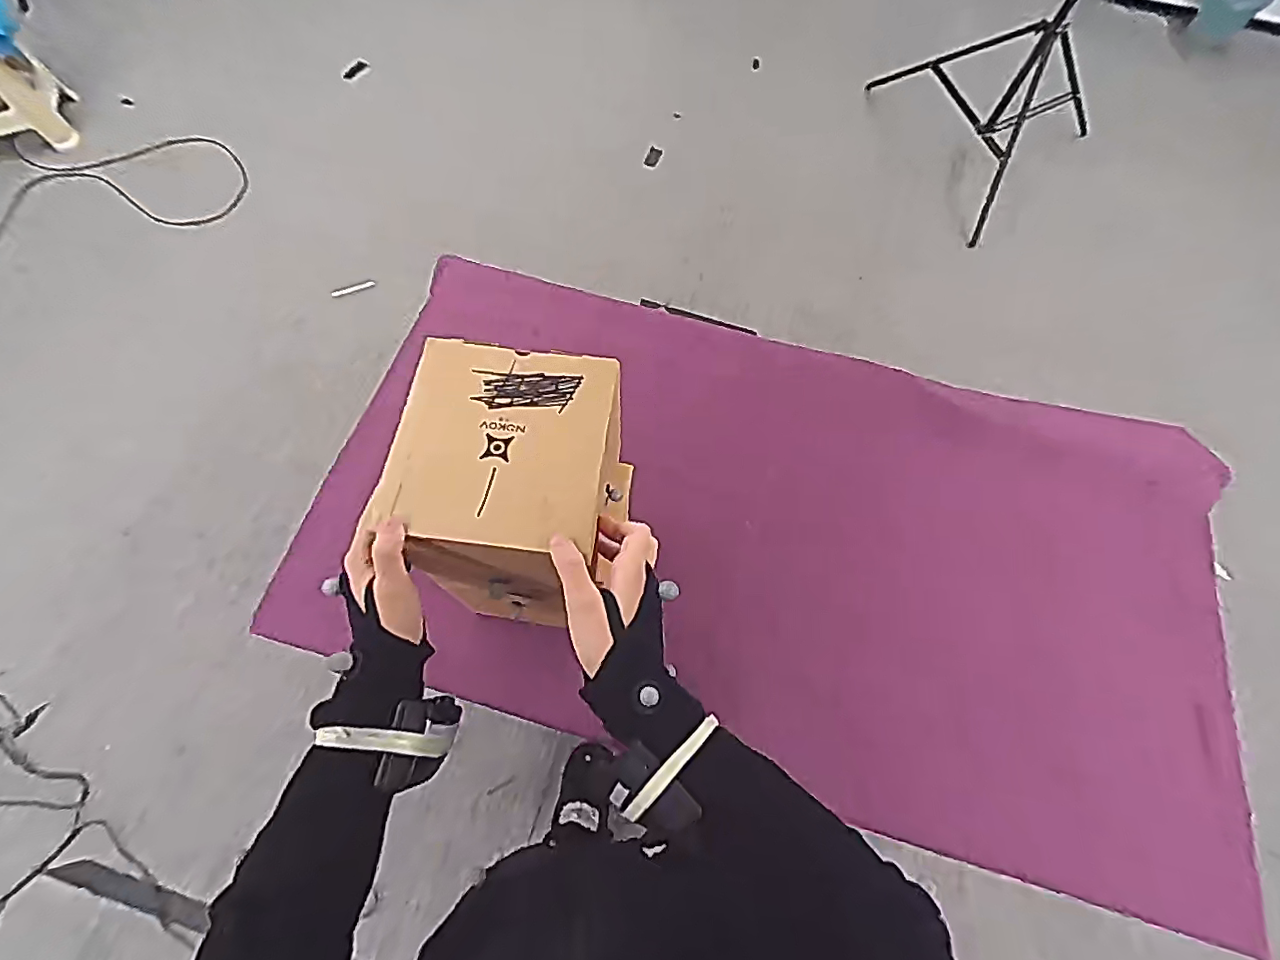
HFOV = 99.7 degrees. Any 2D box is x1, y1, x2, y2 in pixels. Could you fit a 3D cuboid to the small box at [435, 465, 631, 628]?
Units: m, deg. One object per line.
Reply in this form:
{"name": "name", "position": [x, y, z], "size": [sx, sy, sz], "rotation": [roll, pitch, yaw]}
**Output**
{"name": "small box", "position": [-0.112, 0.075, 0.647], "size": [0.179, 0.176, 0.168], "rotation": [9, 67, 2]}

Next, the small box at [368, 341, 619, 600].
{"name": "small box", "position": [-0.113, 0.001, 0.500], "size": [0.168, 0.176, 0.179], "rotation": [7, 67, 1]}
